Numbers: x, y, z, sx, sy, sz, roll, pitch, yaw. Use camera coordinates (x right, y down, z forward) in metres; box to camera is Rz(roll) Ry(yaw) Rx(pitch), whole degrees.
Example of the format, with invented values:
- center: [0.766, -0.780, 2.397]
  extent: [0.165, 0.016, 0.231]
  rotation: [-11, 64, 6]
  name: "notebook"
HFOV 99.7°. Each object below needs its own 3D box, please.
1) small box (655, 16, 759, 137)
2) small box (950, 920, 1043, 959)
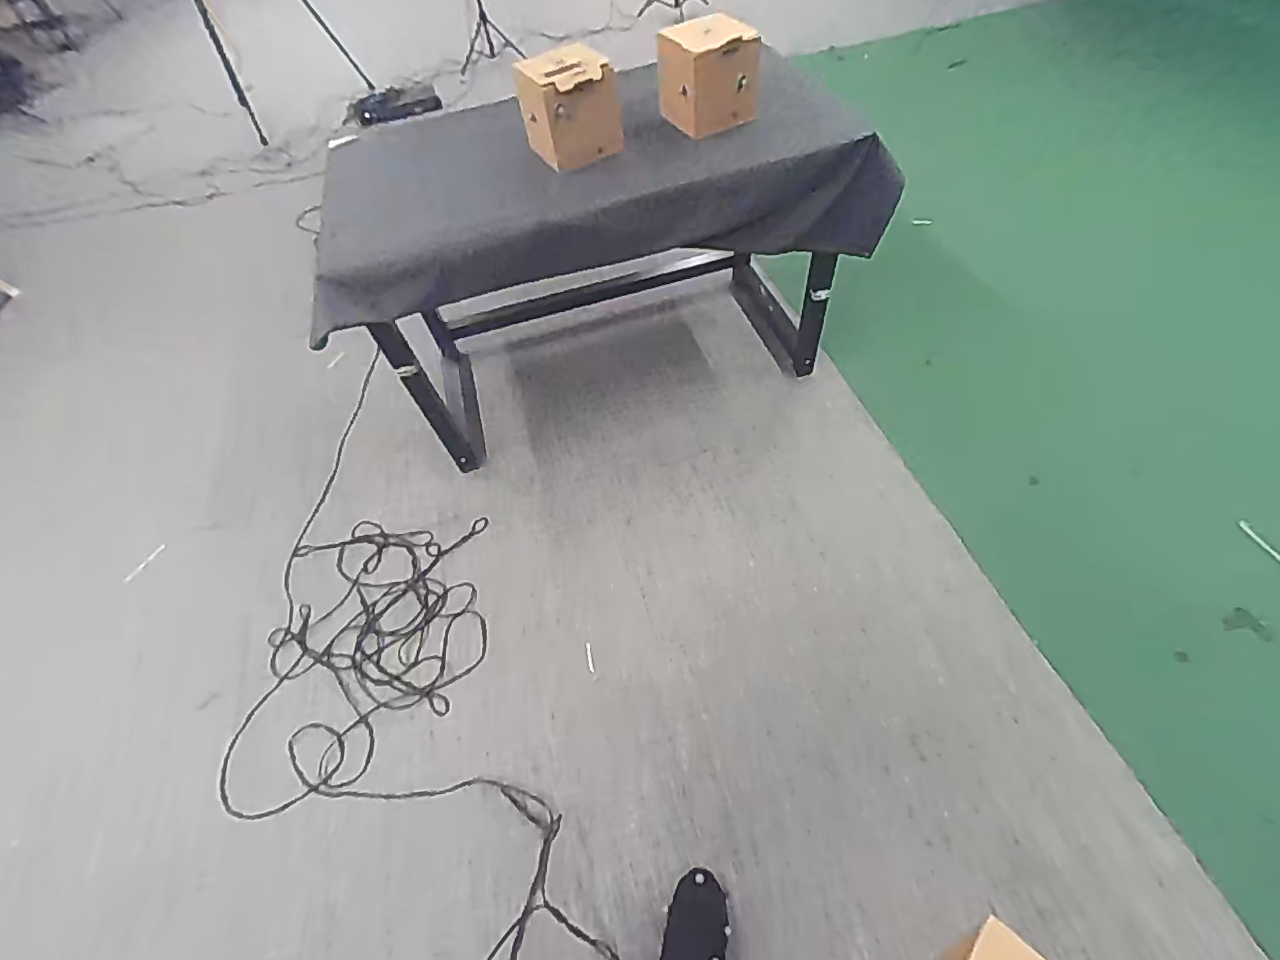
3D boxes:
- center: [0.150, -0.904, 1.221]
  extent: [0.168, 0.176, 0.179]
  rotation: [-25, 55, -12]
  name: "small box"
- center: [0.345, 0.573, 0.496]
  extent: [0.179, 0.176, 0.168]
  rotation: [-28, 44, -33]
  name: "small box"
